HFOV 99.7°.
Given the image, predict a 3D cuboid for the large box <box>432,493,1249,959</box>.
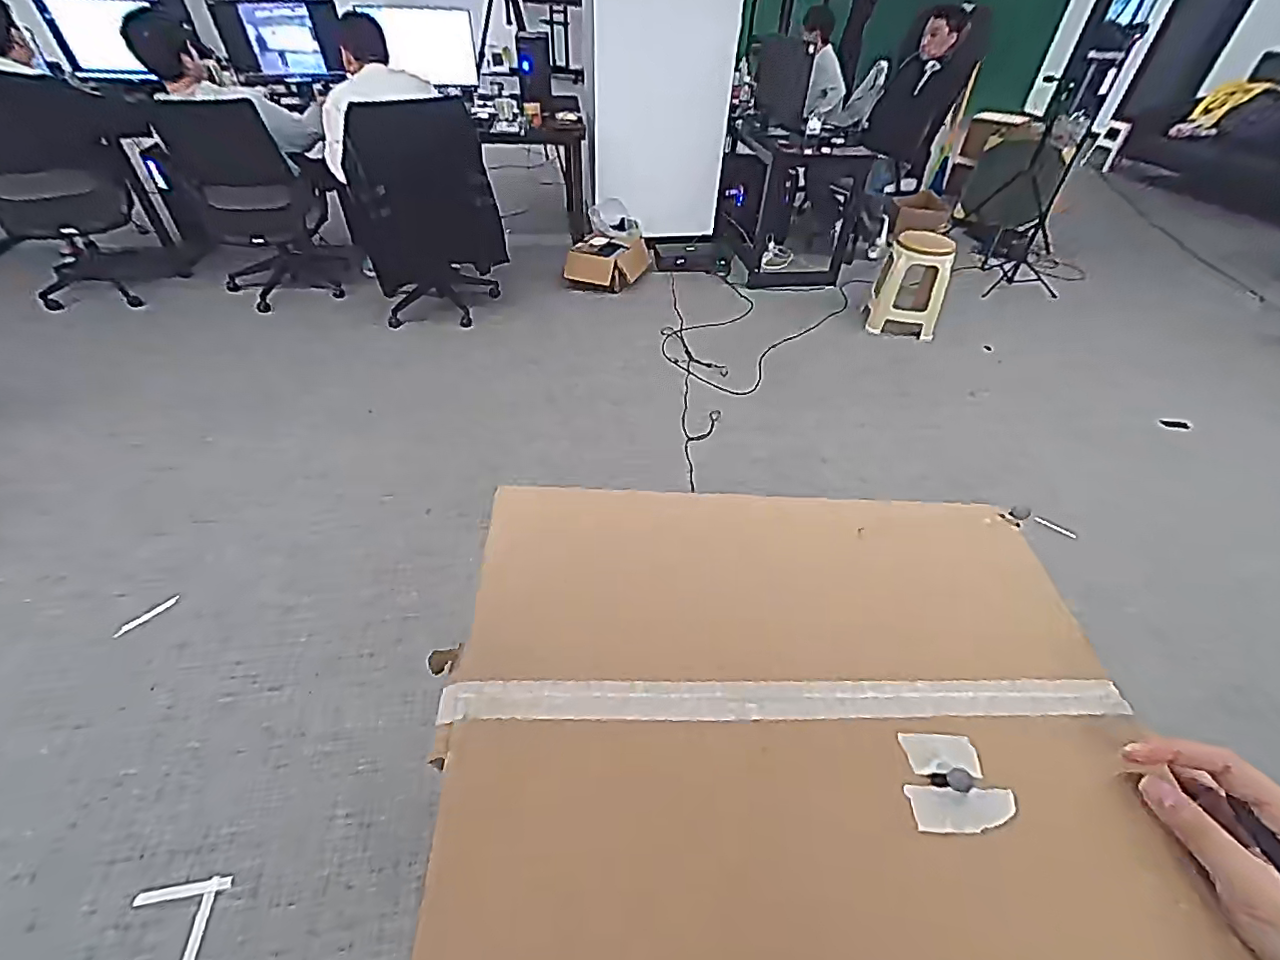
[{"bbox_3d":[0.082,0.230,0.441,0.408,0.320,0.320,3,49,-7],"label":"large box"}]
